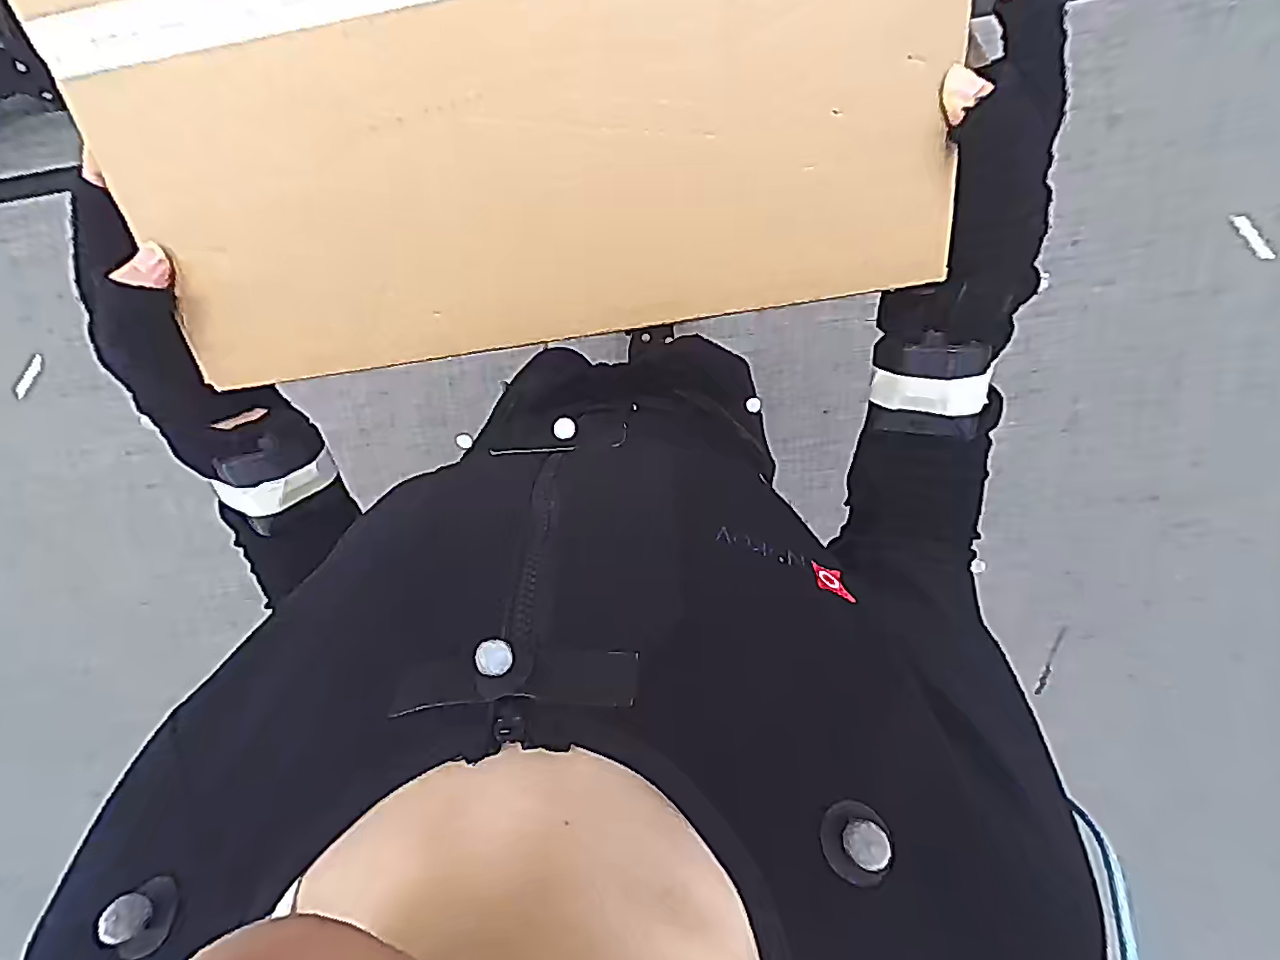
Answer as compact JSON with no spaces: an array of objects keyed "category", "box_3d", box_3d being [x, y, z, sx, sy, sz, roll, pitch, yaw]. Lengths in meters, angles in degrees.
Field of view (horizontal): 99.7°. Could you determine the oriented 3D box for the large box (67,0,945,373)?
[{"category":"large box","box_3d":[-0.064,-0.288,0.376,0.408,0.320,0.320,-8,115,4]}]
